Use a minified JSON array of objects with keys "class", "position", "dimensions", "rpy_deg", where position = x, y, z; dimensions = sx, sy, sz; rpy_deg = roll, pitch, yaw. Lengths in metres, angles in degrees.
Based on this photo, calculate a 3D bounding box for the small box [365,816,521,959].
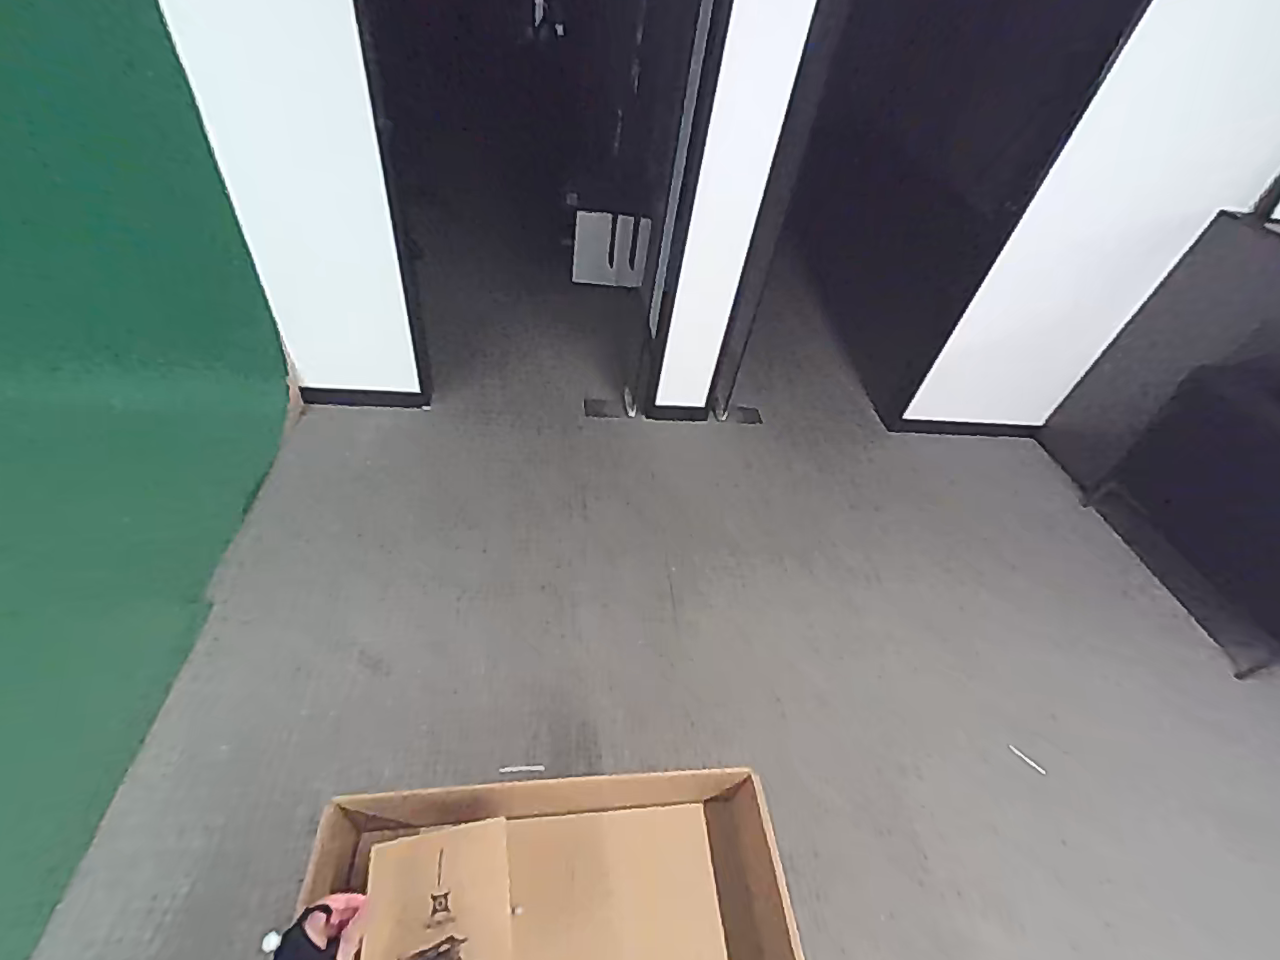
[{"class":"small box","position":[-0.244,0.567,0.695],"dimensions":[0.168,0.176,0.179],"rpy_deg":[-4,45,-15]}]
